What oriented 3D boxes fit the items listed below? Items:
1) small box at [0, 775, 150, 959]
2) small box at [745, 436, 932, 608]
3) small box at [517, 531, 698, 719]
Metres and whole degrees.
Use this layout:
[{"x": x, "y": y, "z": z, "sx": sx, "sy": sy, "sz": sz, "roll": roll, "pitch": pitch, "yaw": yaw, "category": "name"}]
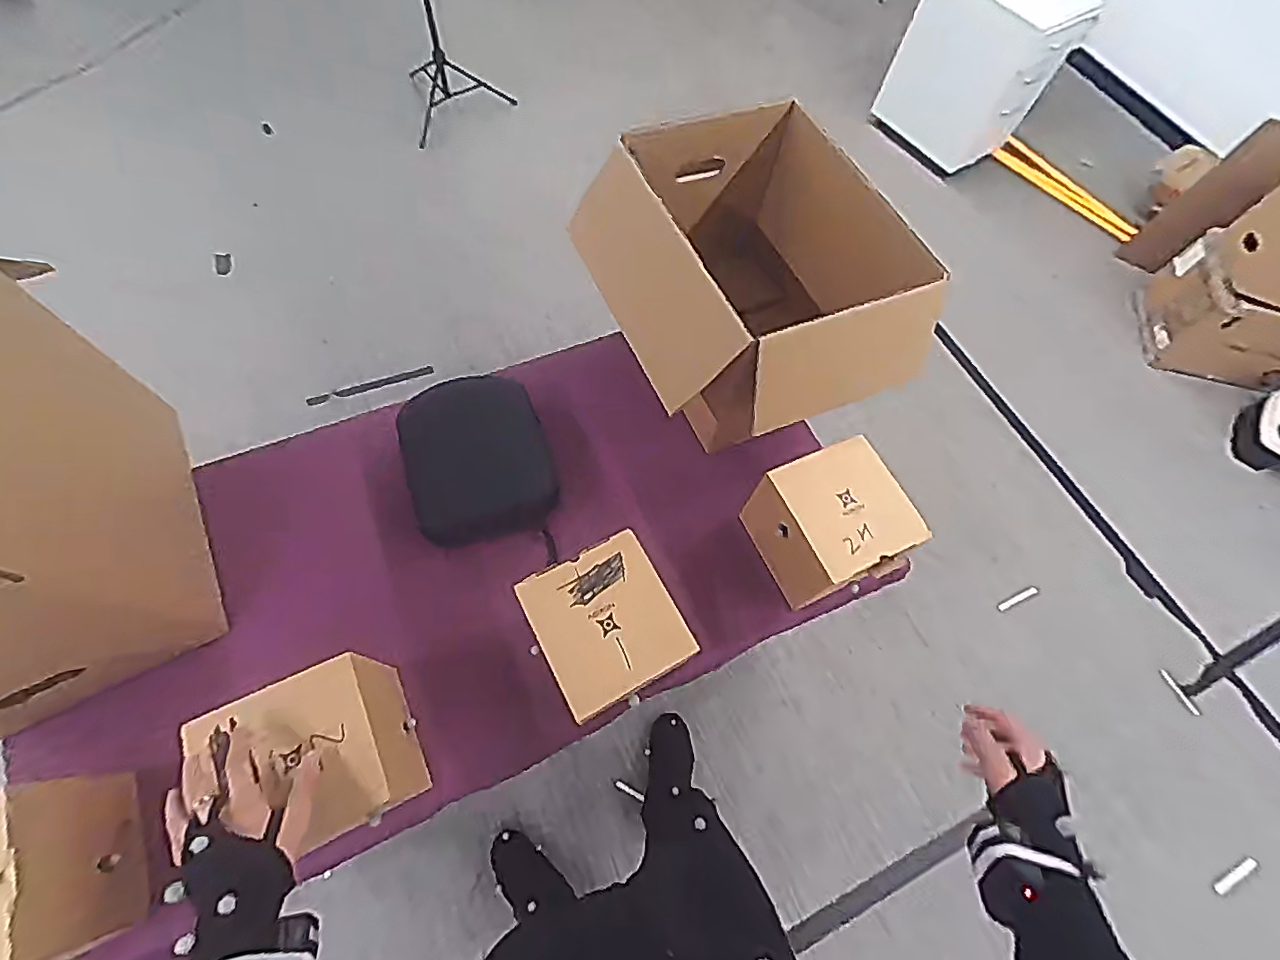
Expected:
[{"x": -0.670, "y": 0.431, "z": 0.560, "sx": 0.179, "sy": 0.176, "sz": 0.168, "roll": -22, "pitch": 69, "yaw": -15, "category": "small box"}, {"x": 0.277, "y": 0.068, "z": 0.805, "sx": 0.168, "sy": 0.176, "sz": 0.179, "roll": -21, "pitch": 68, "yaw": -12, "category": "small box"}, {"x": -0.047, "y": 0.199, "z": 0.720, "sx": 0.168, "sy": 0.176, "sz": 0.179, "roll": -25, "pitch": 71, "yaw": -15, "category": "small box"}]
